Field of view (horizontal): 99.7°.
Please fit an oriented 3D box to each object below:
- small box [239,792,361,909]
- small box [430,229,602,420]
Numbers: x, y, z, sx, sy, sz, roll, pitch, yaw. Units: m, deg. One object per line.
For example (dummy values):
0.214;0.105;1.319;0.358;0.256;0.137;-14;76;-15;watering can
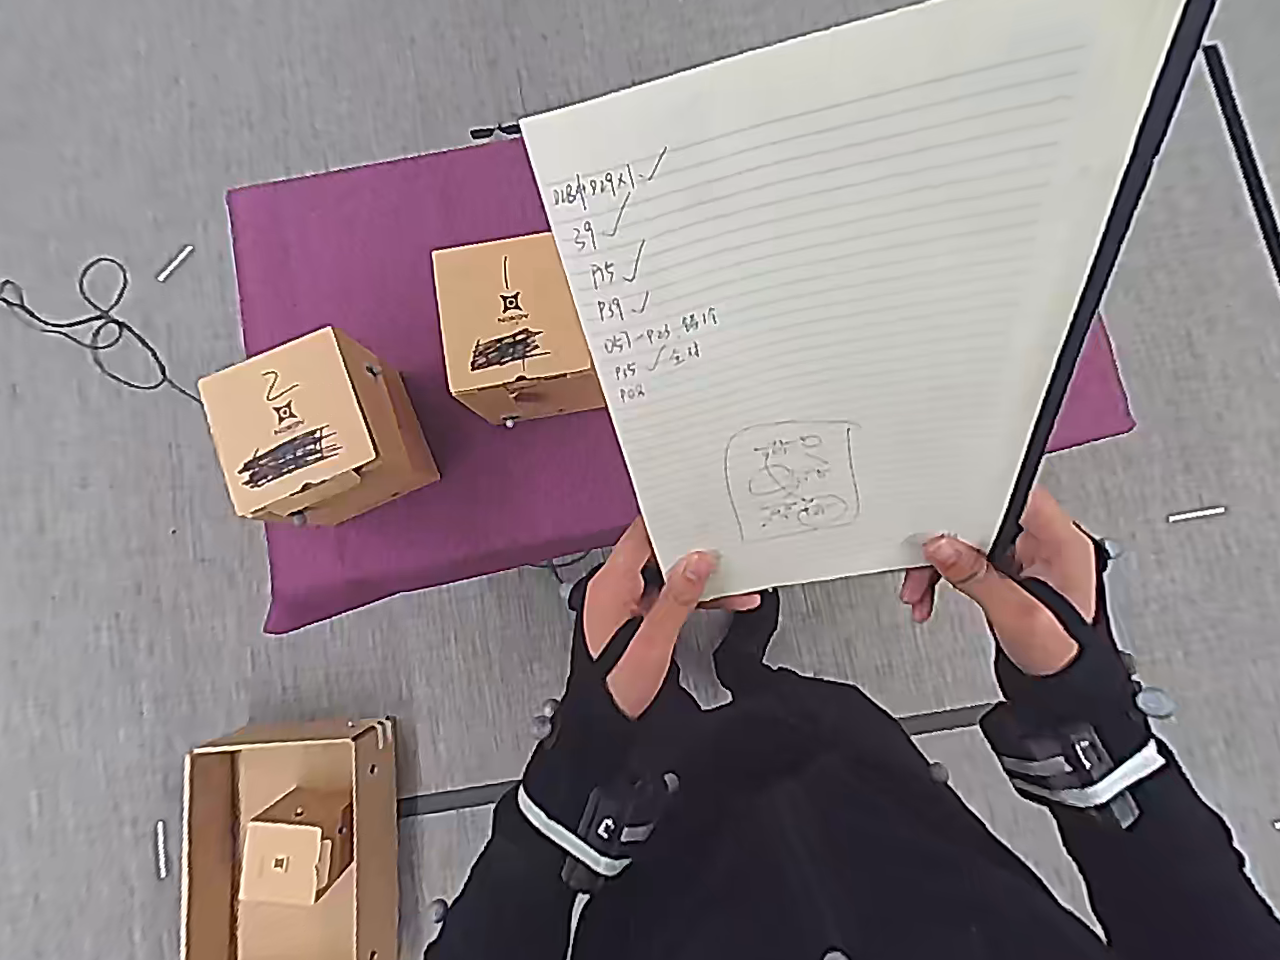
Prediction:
-0.787;0.861;1.271;0.179;0.176;0.168;4;84;1;small box
-0.146;-0.182;0.690;0.168;0.176;0.179;-10;83;0;small box
